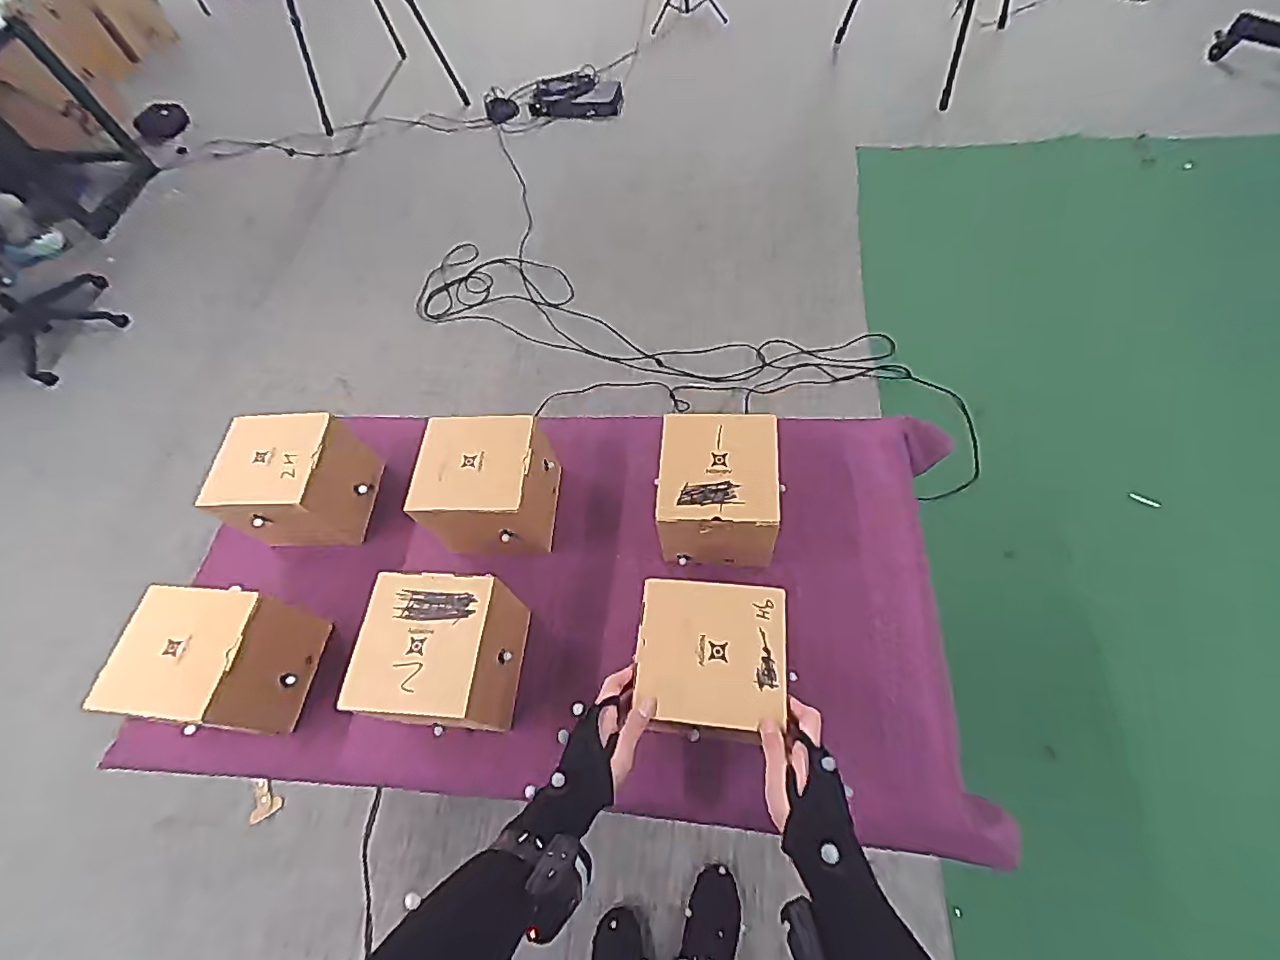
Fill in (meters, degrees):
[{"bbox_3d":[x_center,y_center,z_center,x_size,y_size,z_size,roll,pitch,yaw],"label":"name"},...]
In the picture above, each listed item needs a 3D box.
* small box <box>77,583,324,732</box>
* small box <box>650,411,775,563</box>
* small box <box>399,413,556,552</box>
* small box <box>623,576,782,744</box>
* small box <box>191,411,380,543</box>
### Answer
[{"bbox_3d":[-0.603,0.257,0.771,0.179,0.176,0.168,2,60,8],"label":"small box"},{"bbox_3d":[0.113,0.015,0.811,0.168,0.176,0.179,2,61,9],"label":"small box"},{"bbox_3d":[-0.243,0.008,0.864,0.179,0.176,0.168,0,61,8],"label":"small box"},{"bbox_3d":[0.086,0.234,0.693,0.179,0.176,0.168,3,61,10],"label":"small box"},{"bbox_3d":[-0.578,0.002,0.908,0.179,0.176,0.168,-1,62,6],"label":"small box"}]
